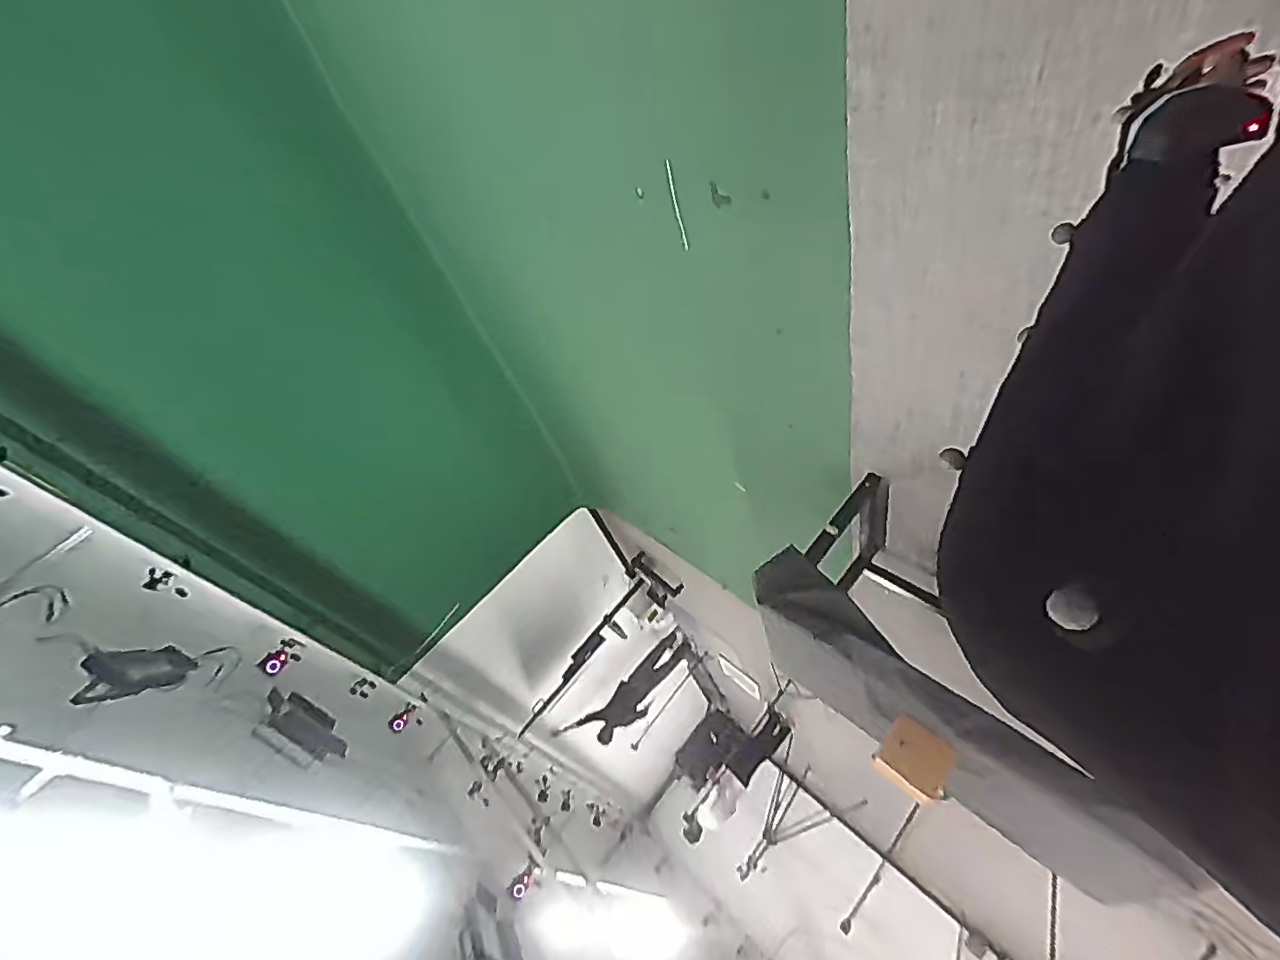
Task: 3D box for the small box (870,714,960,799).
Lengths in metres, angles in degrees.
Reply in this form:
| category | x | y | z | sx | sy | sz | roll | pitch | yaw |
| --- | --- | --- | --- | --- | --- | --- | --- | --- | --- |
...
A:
| category | x | y | z | sx | sy | sz | roll | pitch | yaw |
| --- | --- | --- | --- | --- | --- | --- | --- | --- | --- |
| small box | 0.856 | 0.857 | 1.692 | 0.179 | 0.176 | 0.168 | 33 | 160 | 30 |
